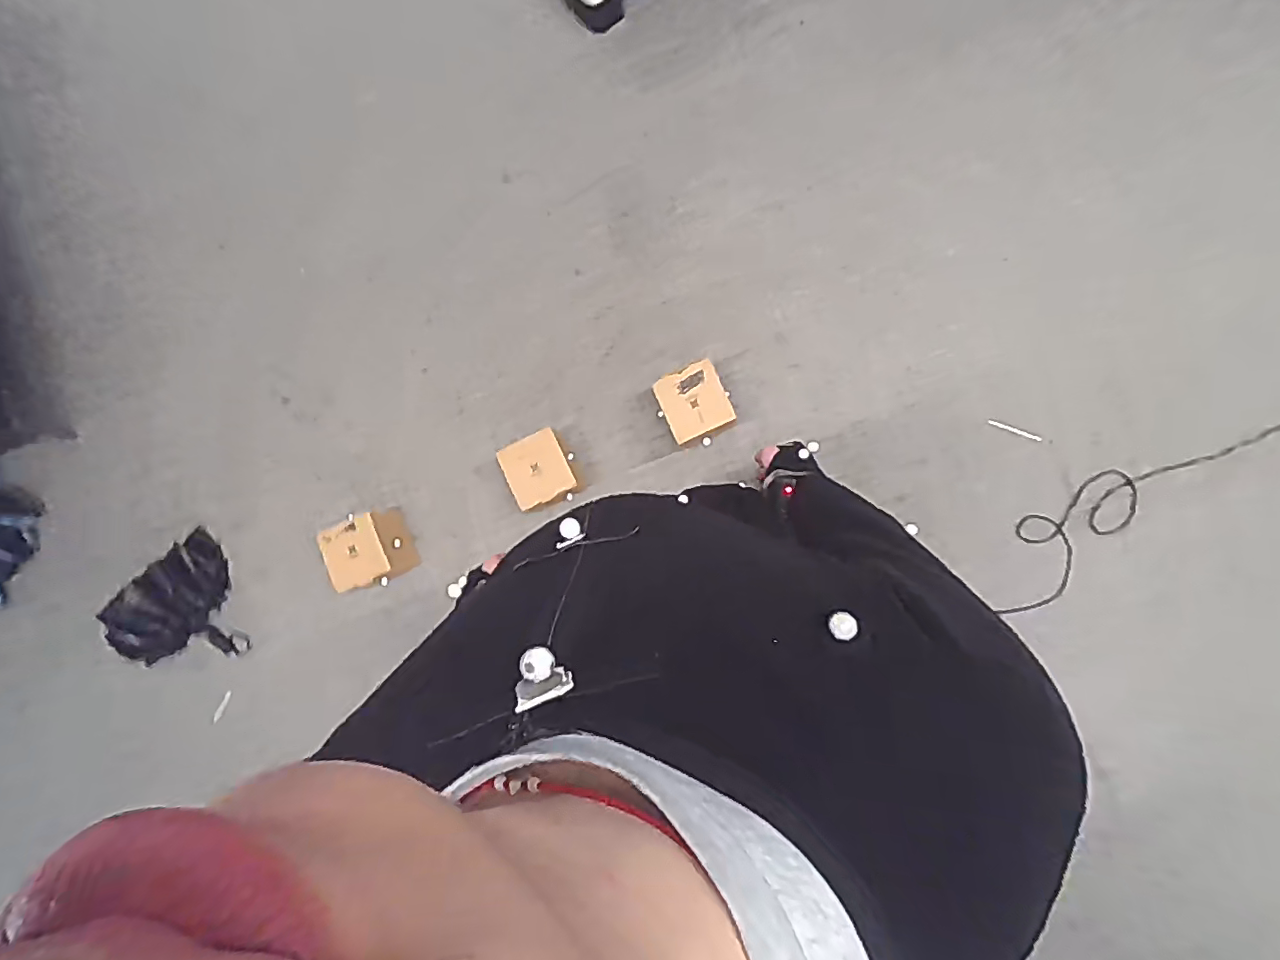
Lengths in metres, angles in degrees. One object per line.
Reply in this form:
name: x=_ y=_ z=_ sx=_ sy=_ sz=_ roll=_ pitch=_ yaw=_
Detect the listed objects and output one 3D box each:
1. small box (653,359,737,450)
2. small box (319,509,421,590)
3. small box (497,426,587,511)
small box: x=0.147 y=-0.195 z=1.457 sx=0.168 sy=0.176 sz=0.179 roll=-24 pitch=84 yaw=6
small box: x=-0.759 y=0.190 z=1.539 sx=0.168 sy=0.176 sz=0.179 roll=-24 pitch=85 yaw=4
small box: x=-0.264 y=-0.026 z=1.499 sx=0.168 sy=0.176 sz=0.179 roll=-26 pitch=83 yaw=3
